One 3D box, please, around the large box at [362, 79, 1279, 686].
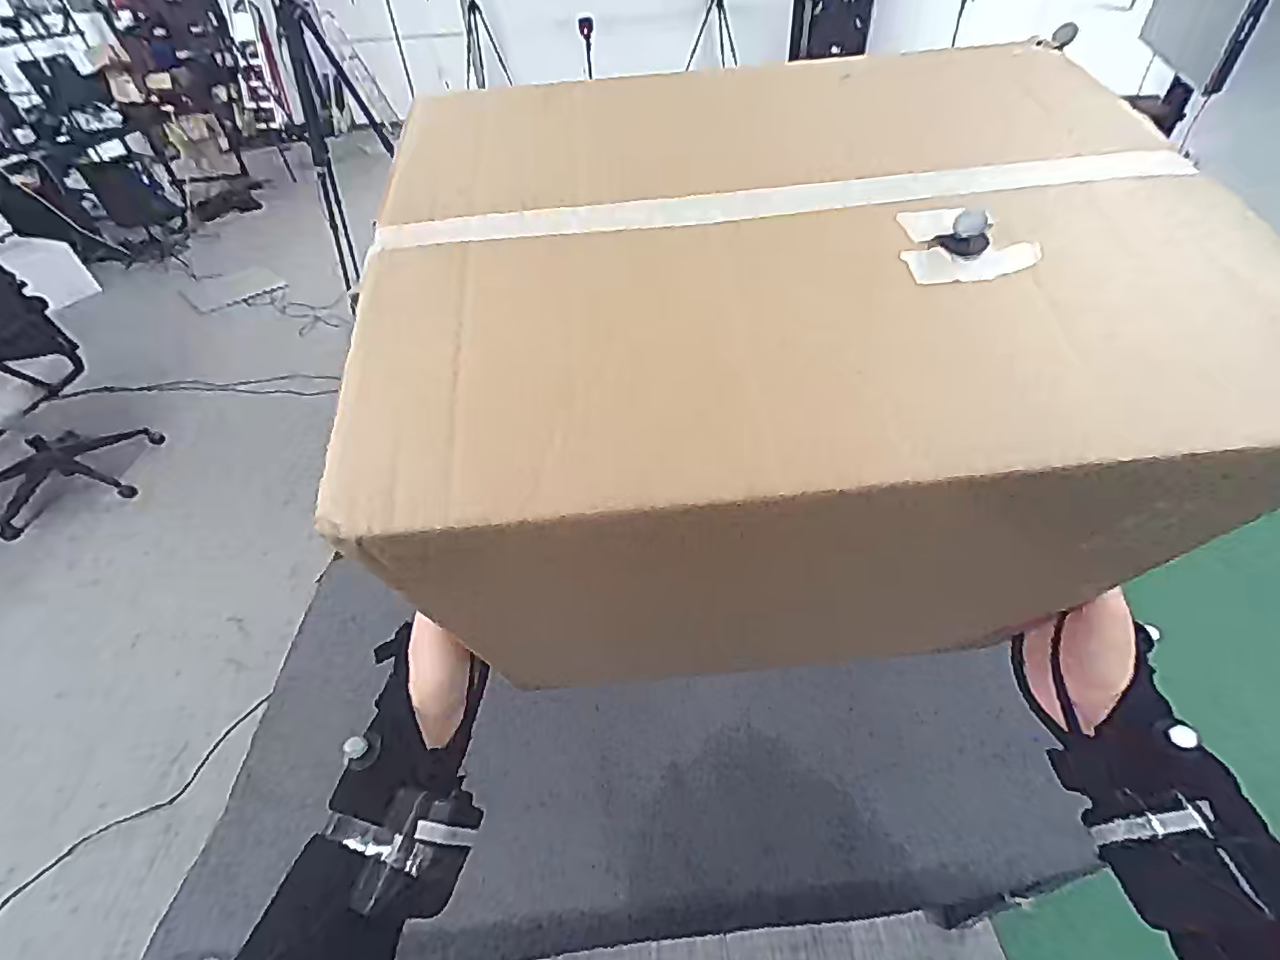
[{"bbox_3d":[0.075,-0.049,0.416,0.408,0.320,0.320,-6,60,-1],"label":"large box"}]
